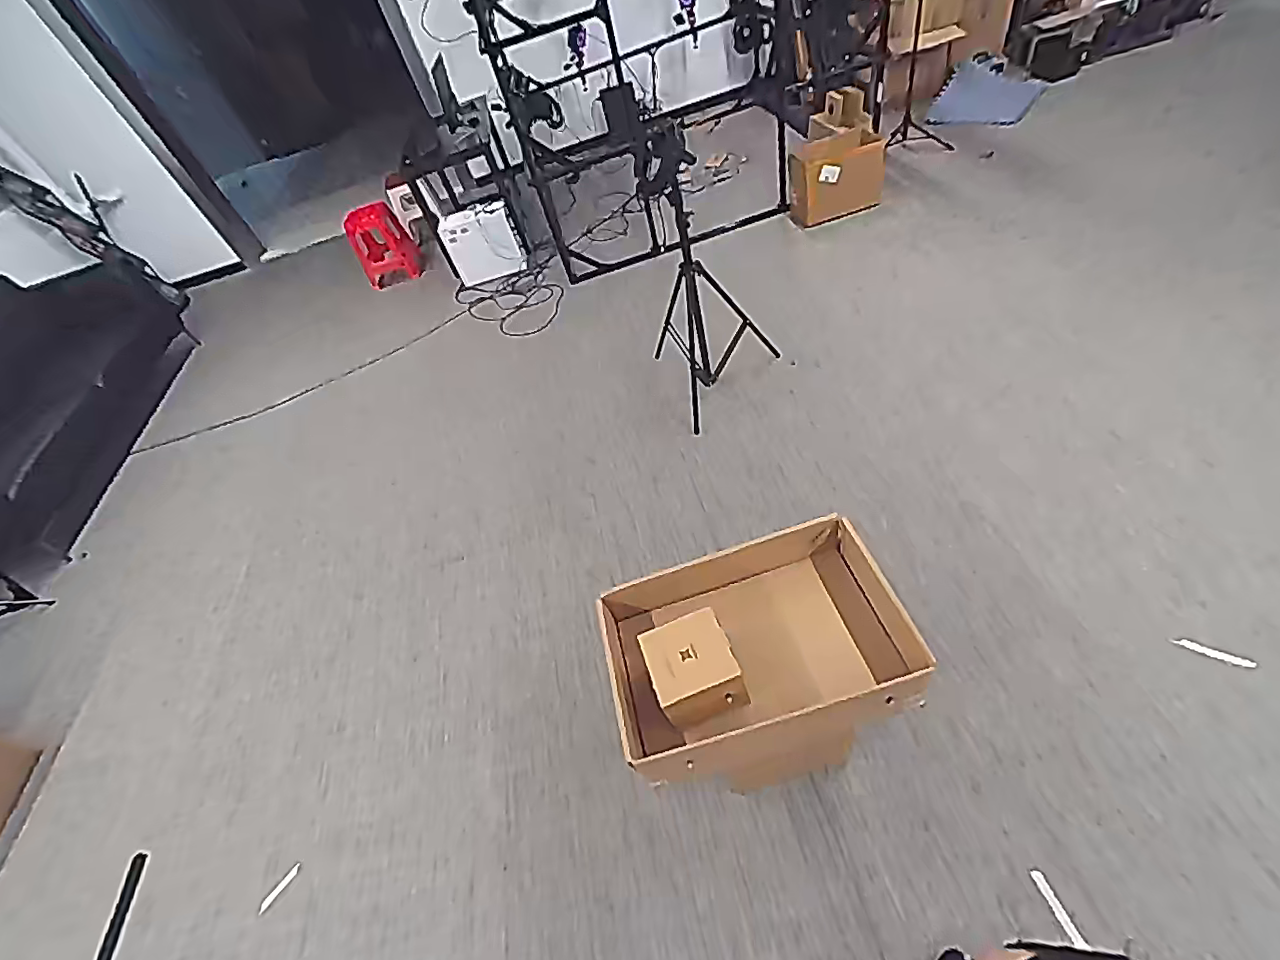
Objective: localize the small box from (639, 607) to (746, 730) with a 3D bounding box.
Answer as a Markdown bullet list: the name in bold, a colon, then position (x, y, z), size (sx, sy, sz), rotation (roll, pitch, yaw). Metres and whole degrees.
- **small box**: position (0.118, 0.408, 1.164), size (0.179, 0.176, 0.168), rotation (-23, 46, 0)
